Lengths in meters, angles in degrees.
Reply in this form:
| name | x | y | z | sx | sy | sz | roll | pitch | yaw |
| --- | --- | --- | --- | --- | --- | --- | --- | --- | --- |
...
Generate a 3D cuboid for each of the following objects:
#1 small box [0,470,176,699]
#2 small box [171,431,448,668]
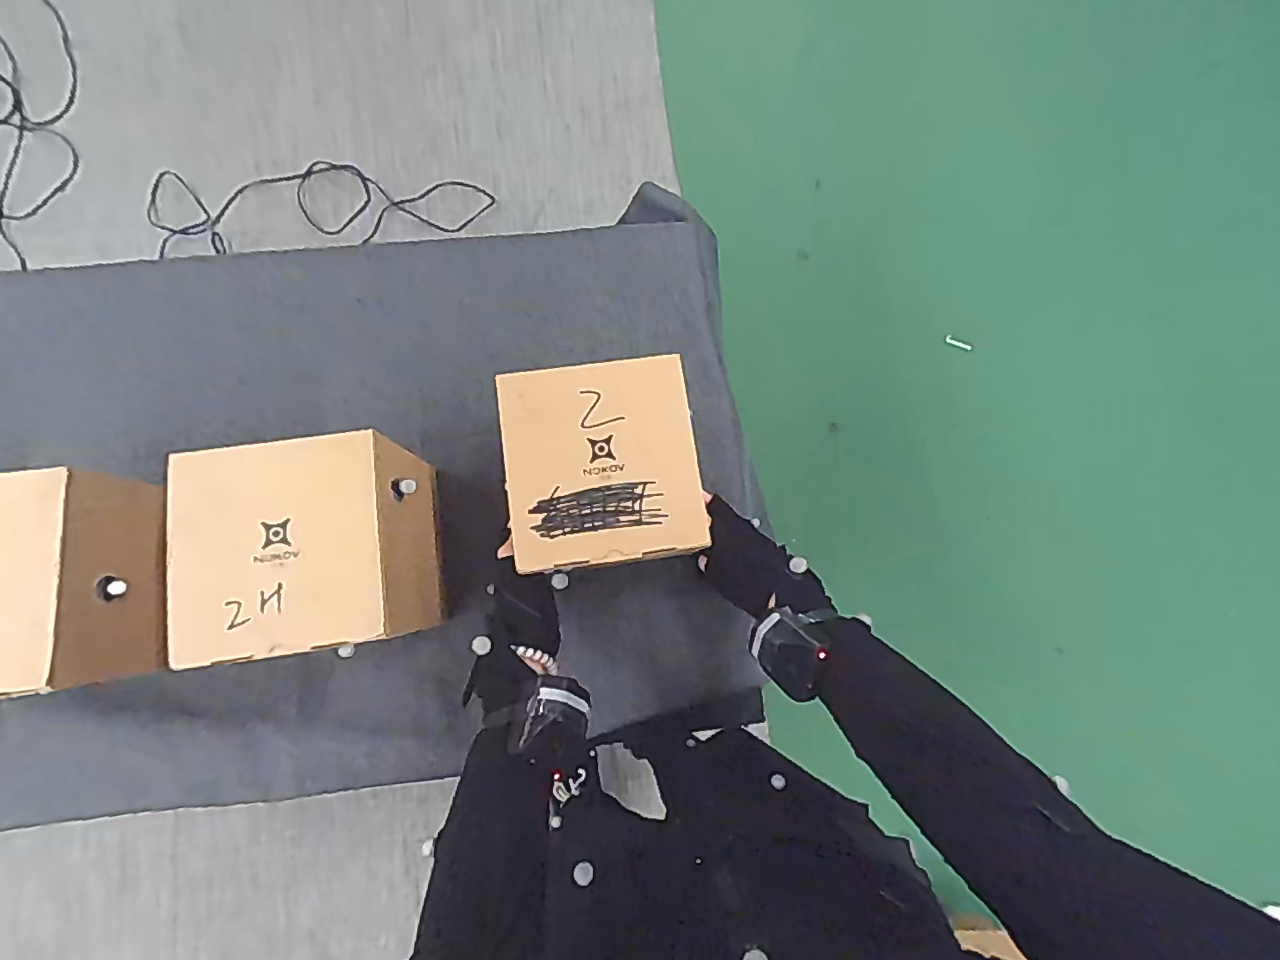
| name | x | y | z | sx | sy | sz | roll | pitch | yaw |
| --- | --- | --- | --- | --- | --- | --- | --- | --- | --- |
| small box | -0.533 | 0.097 | 0.495 | 0.168 | 0.176 | 0.179 | -6 | 79 | -5 |
| small box | -0.293 | 0.067 | 0.514 | 0.168 | 0.176 | 0.179 | -7 | 80 | -4 |
